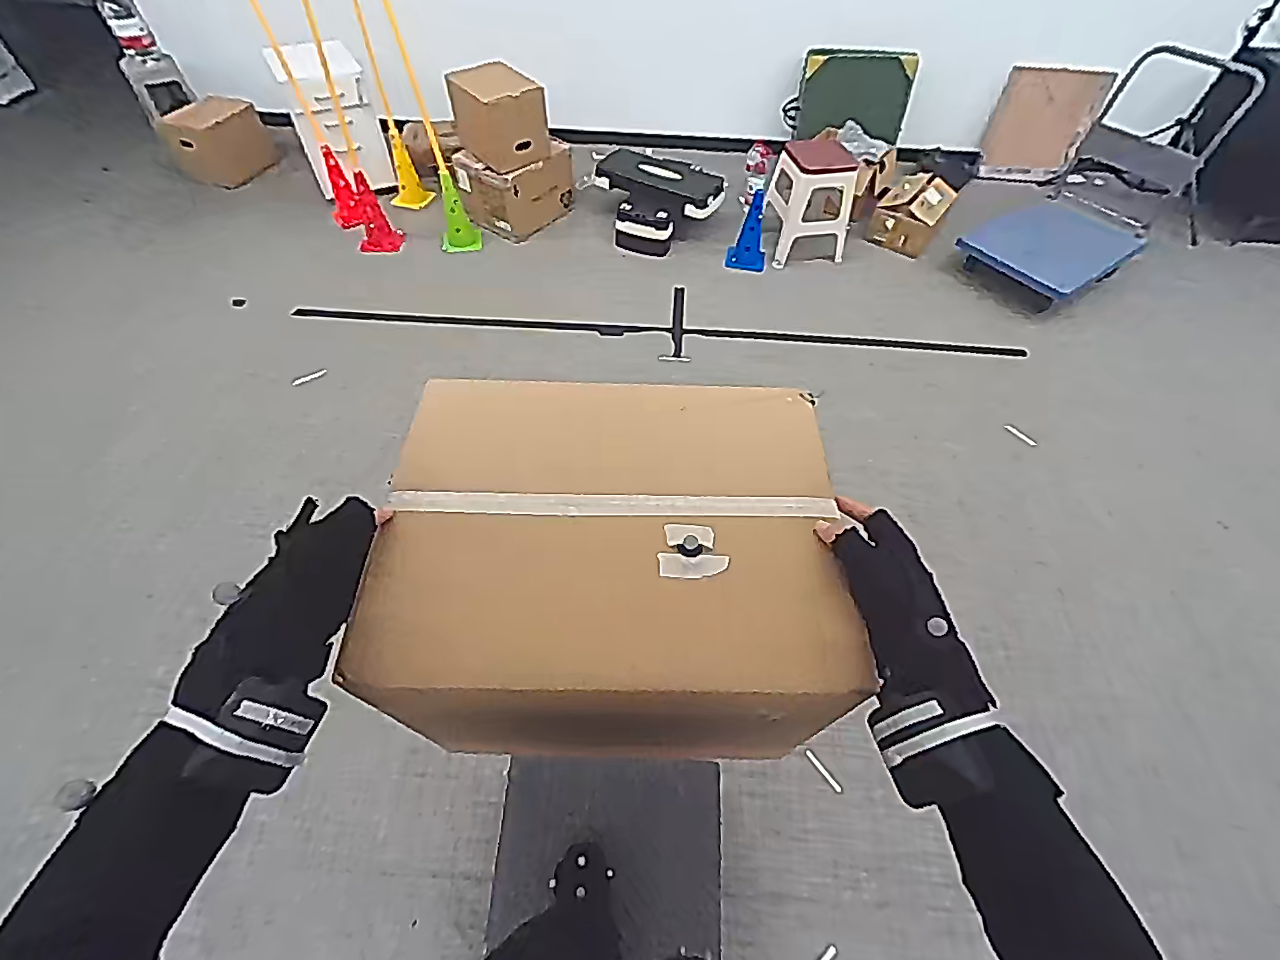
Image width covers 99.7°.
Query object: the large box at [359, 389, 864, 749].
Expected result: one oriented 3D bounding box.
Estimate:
[{"bbox_3d":[-0.026,0.115,0.625,0.408,0.320,0.320,2,55,-1],"label":"large box"}]
